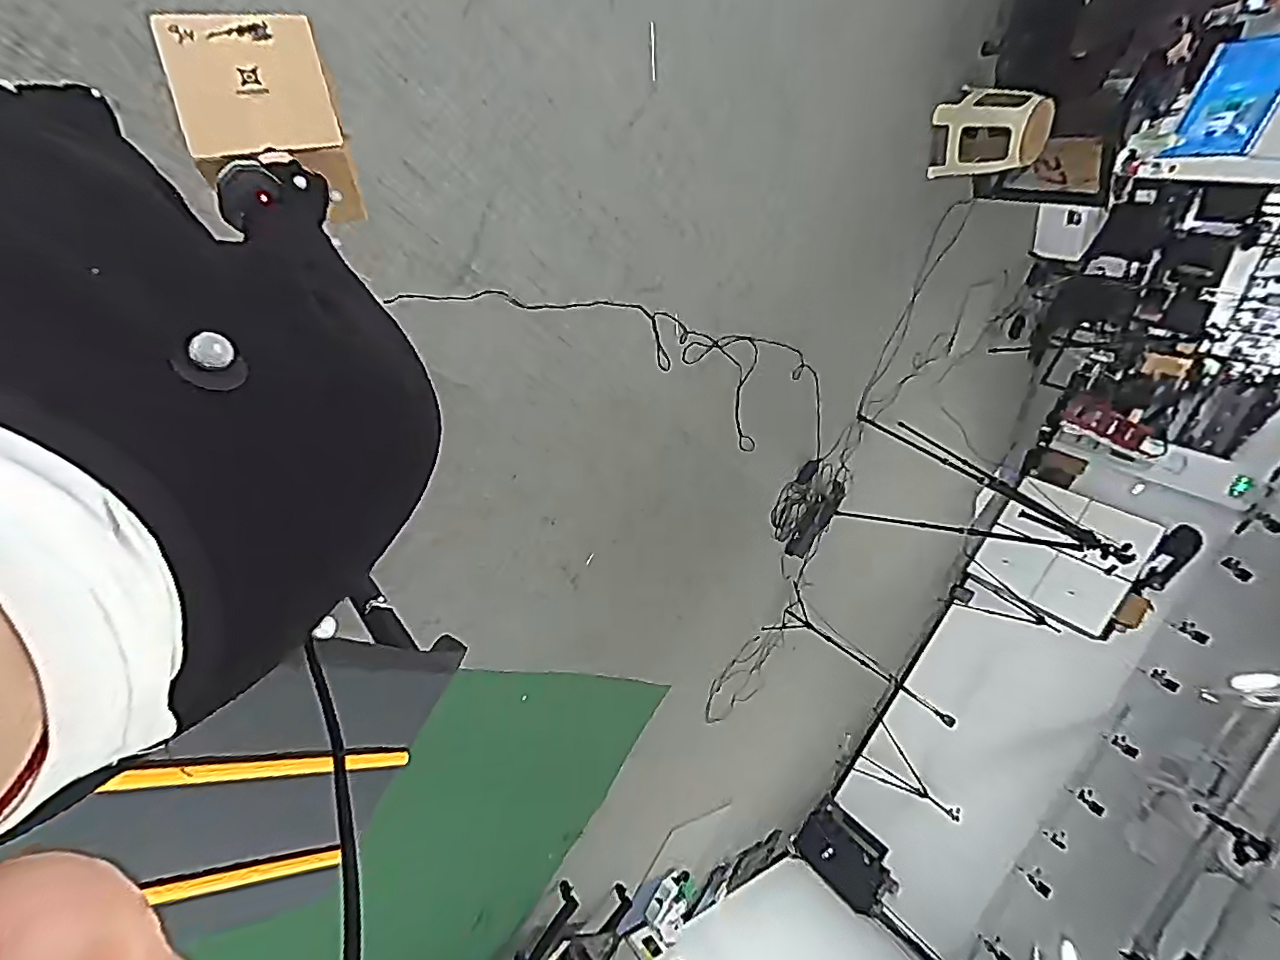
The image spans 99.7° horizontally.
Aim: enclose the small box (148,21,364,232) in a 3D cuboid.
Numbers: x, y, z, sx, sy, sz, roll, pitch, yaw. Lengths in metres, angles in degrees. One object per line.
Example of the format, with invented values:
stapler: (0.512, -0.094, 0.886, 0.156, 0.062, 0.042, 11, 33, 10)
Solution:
small box: (-0.494, -0.457, 0.726, 0.168, 0.176, 0.179, -19, 89, -18)
